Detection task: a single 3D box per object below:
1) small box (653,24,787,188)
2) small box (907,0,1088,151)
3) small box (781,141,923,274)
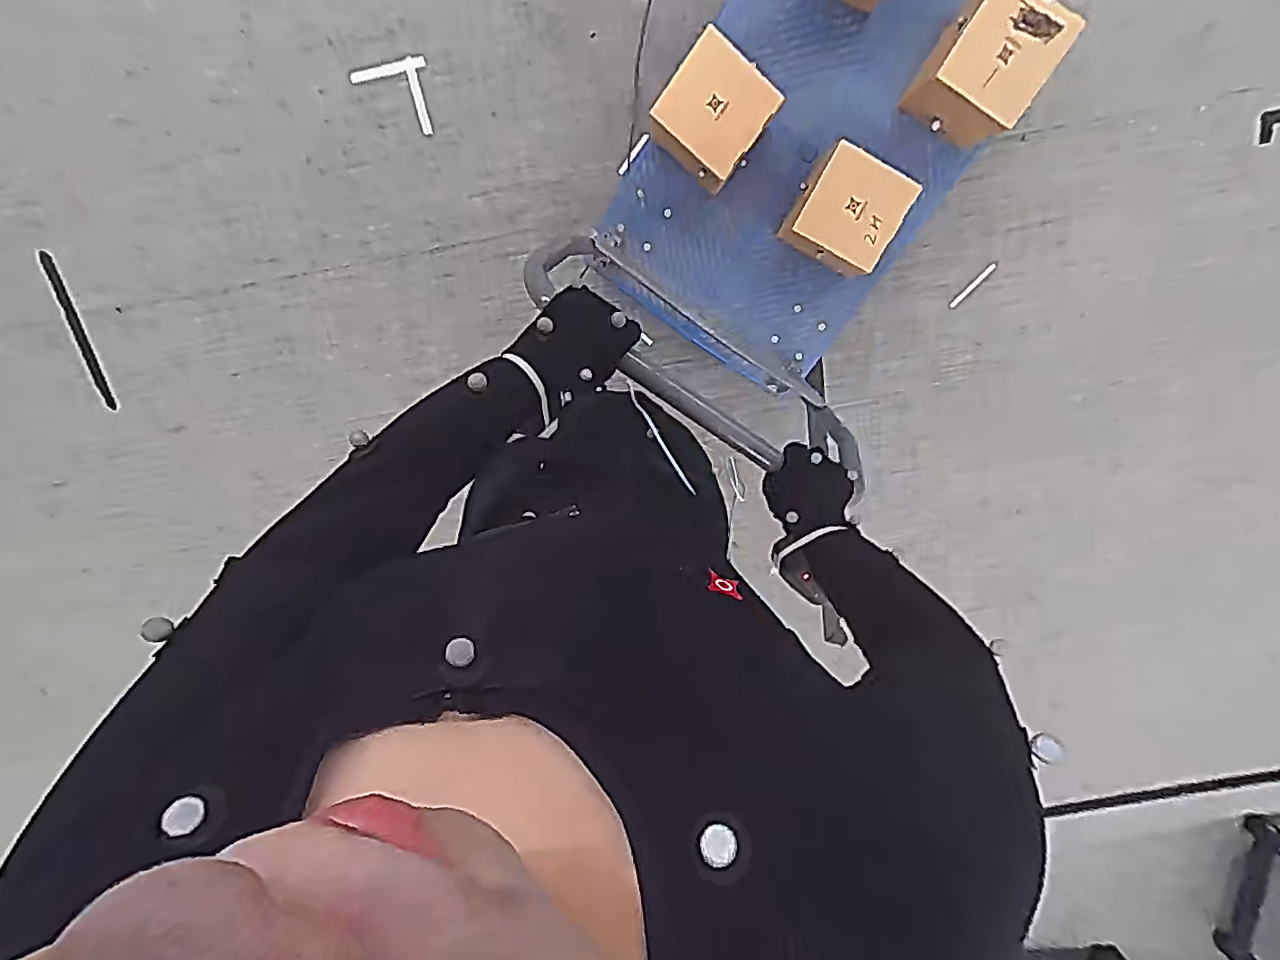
[{"bbox_3d":[0.140,-0.680,1.014,0.179,0.176,0.168,38,108,-12],"label":"small box"},{"bbox_3d":[0.619,-0.730,0.964,0.168,0.176,0.179,30,110,-7],"label":"small box"},{"bbox_3d":[0.399,-0.518,1.057,0.179,0.176,0.168,28,110,-6],"label":"small box"}]
